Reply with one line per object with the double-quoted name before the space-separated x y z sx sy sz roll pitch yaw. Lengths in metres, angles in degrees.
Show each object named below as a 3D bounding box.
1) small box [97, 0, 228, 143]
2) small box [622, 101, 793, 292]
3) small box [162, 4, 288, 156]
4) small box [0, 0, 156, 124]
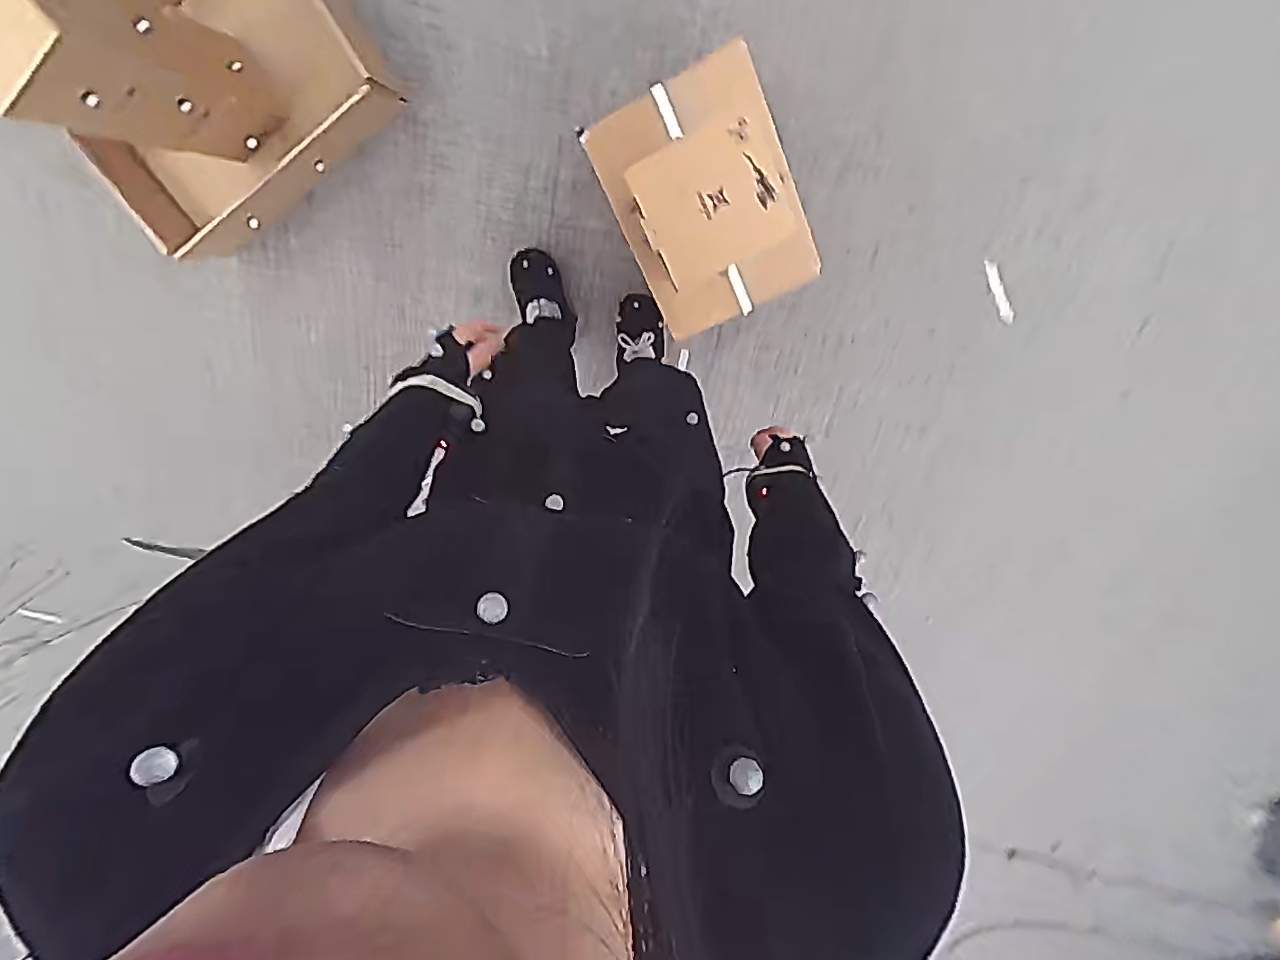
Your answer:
"small box" -0.898 -0.735 0.961 0.168 0.176 0.179 -32 107 15
"small box" 0.093 -0.386 0.764 0.179 0.176 0.168 -23 111 14
"small box" -0.883 -0.801 1.108 0.168 0.176 0.179 -28 110 15
"small box" -0.900 -0.670 0.808 0.168 0.176 0.179 -33 109 14
